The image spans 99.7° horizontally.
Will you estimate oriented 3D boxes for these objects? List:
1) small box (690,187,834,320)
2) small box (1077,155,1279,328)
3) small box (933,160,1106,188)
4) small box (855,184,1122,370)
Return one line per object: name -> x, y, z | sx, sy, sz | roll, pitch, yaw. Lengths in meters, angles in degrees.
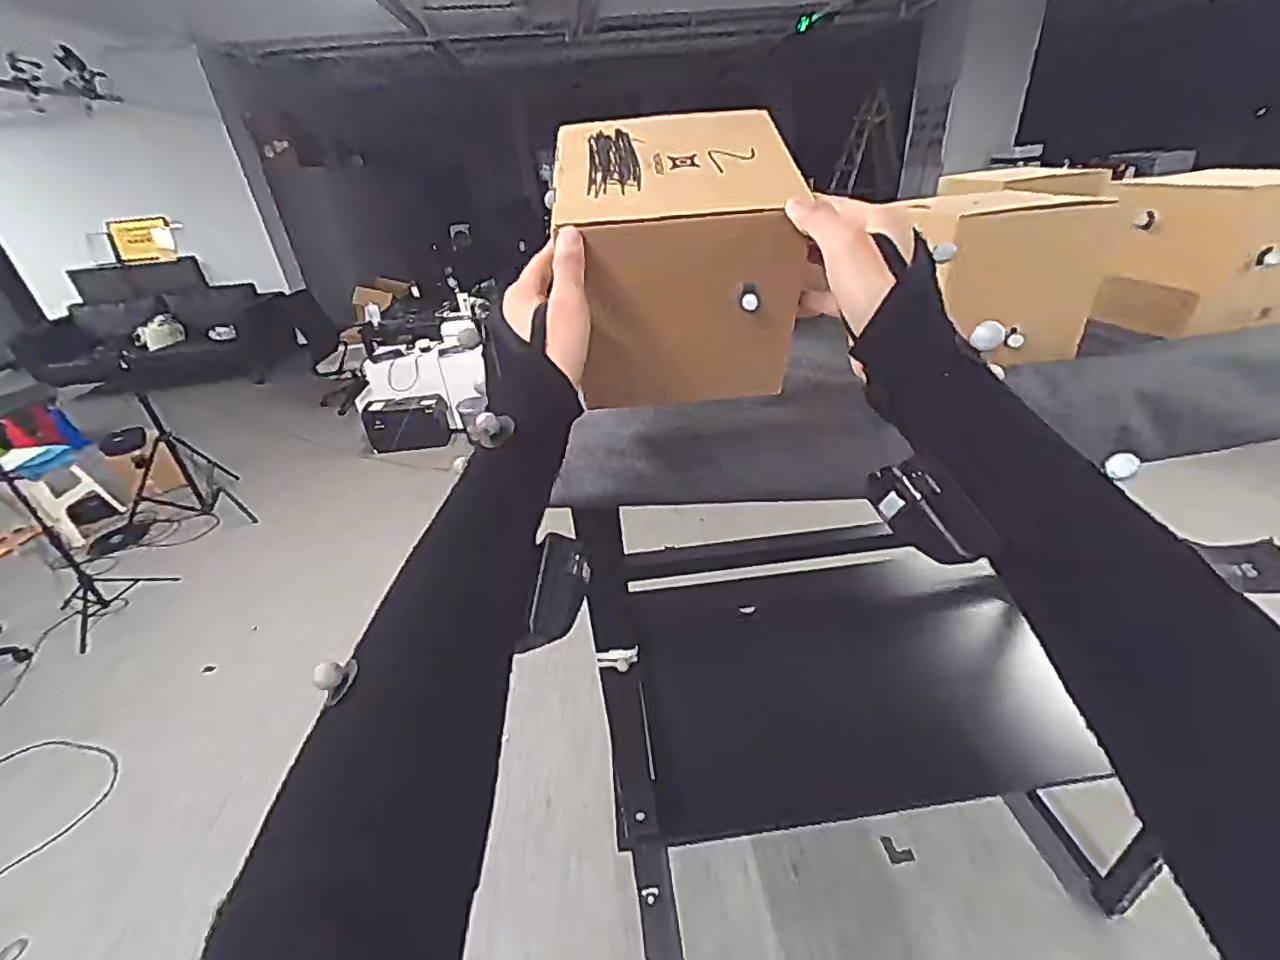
small box -> 0.182, -0.361, 0.858 | 0.168, 0.176, 0.179 | -12, 32, -9
small box -> 0.686, -0.291, 0.663 | 0.168, 0.176, 0.179 | -9, 30, -5
small box -> 0.608, -0.429, 0.904 | 0.179, 0.176, 0.168 | -7, 32, -3
small box -> 0.370, -0.234, 0.615 | 0.179, 0.176, 0.168 | -7, 30, -5
